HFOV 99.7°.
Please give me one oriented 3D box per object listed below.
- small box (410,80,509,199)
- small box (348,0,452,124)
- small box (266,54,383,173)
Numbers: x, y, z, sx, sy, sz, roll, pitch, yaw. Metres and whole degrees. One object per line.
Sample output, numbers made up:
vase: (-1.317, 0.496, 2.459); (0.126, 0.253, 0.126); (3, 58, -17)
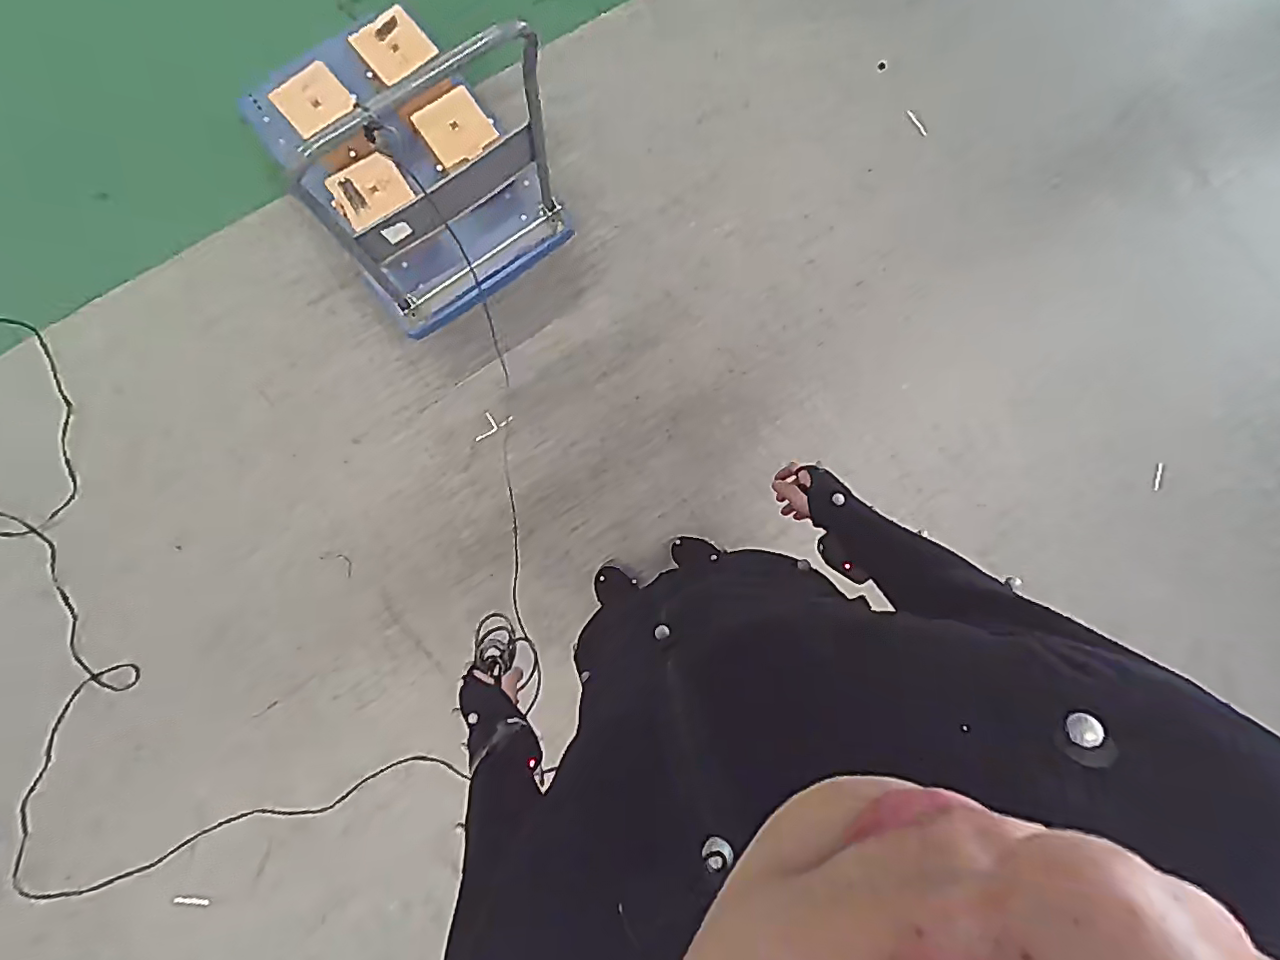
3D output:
small box: (-0.479, -0.909, 1.459); (0.168, 0.176, 0.179); (-35, 89, -5)
small box: (-0.639, -1.126, 1.468); (0.168, 0.176, 0.179); (-40, 89, -5)
small box: (-0.830, -0.963, 1.444); (0.168, 0.176, 0.179); (-40, 88, -6)
